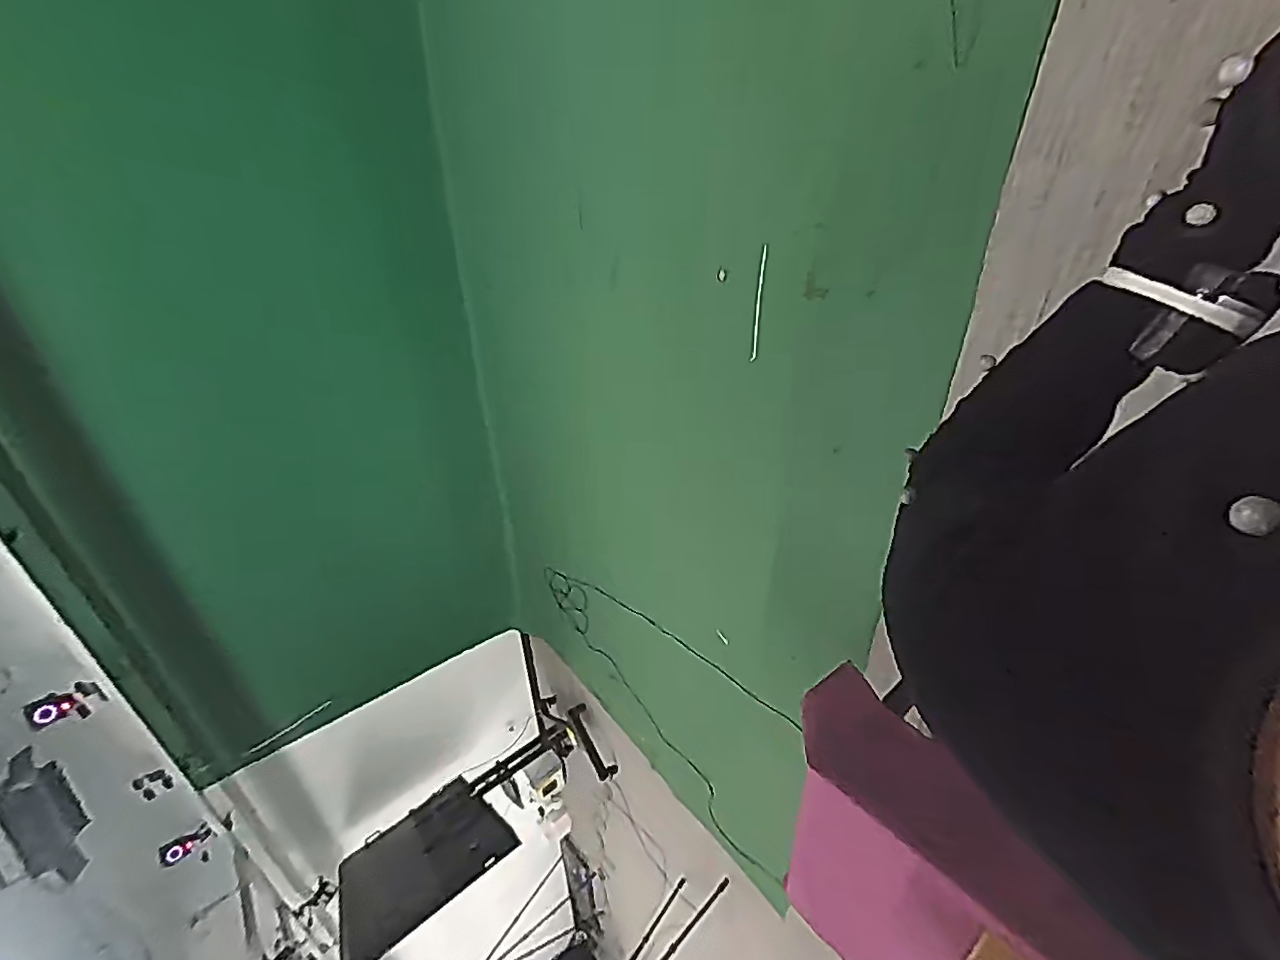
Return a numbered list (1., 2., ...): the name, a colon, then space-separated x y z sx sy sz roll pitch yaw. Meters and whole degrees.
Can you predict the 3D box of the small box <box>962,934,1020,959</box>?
1. small box: 0.616 0.939 0.922 0.168 0.176 0.179 32 134 42
